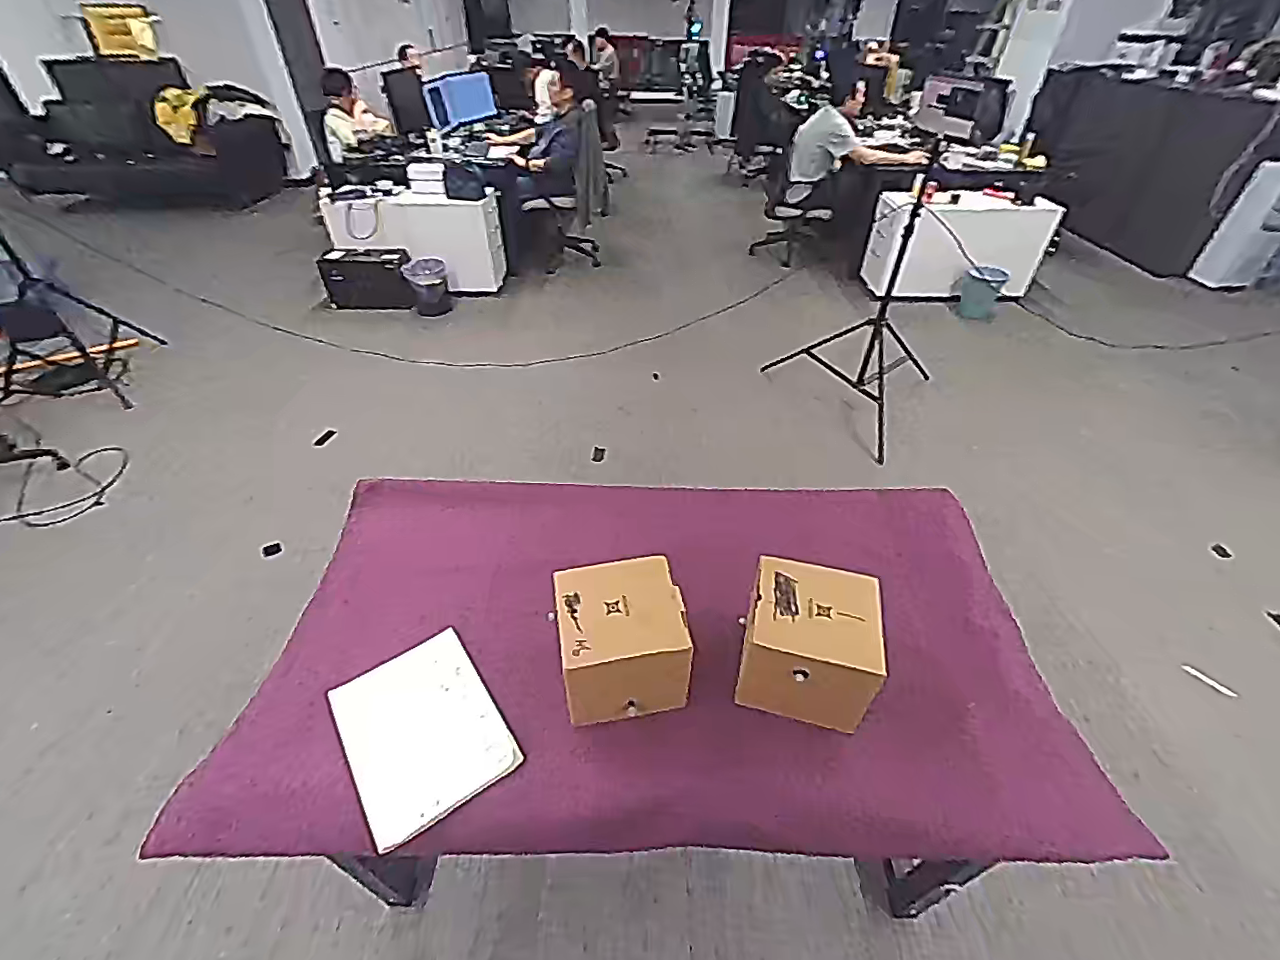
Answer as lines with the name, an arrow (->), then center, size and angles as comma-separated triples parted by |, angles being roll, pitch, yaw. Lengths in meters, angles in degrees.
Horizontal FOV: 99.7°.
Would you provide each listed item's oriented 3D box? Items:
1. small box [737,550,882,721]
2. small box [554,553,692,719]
small box -> 0.248, 0.235, 0.816 | 0.179, 0.176, 0.168 | 11, 41, 11
small box -> -0.032, 0.235, 0.818 | 0.179, 0.176, 0.168 | -7, 41, -9
